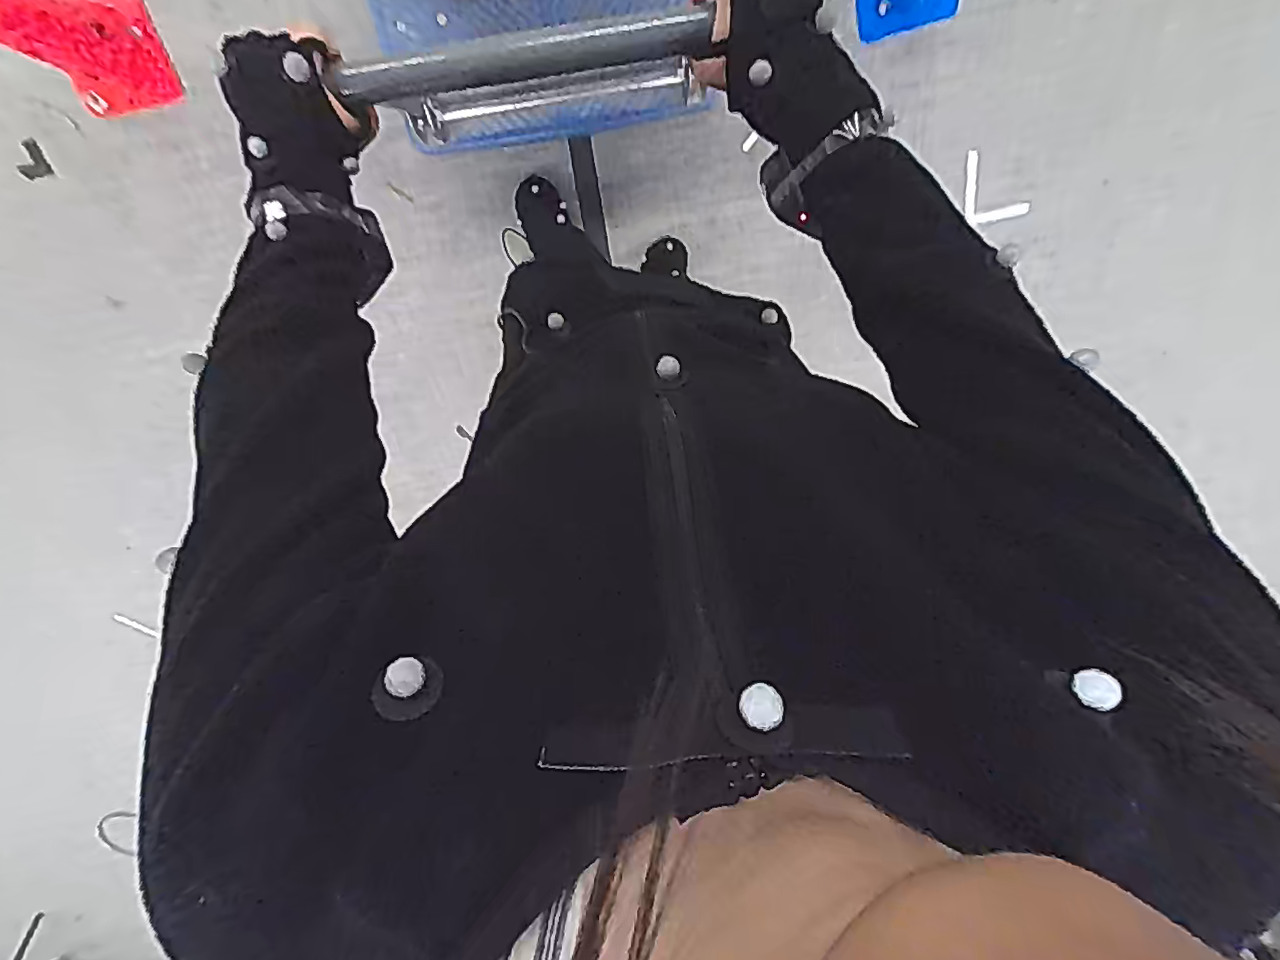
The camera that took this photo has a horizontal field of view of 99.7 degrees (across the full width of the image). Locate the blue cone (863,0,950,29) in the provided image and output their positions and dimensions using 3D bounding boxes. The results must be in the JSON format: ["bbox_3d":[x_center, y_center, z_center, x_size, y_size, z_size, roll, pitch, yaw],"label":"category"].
[{"bbox_3d":[0.527,-0.929,0.894,0.193,0.380,0.192,-14,116,4],"label":"blue cone"}]
